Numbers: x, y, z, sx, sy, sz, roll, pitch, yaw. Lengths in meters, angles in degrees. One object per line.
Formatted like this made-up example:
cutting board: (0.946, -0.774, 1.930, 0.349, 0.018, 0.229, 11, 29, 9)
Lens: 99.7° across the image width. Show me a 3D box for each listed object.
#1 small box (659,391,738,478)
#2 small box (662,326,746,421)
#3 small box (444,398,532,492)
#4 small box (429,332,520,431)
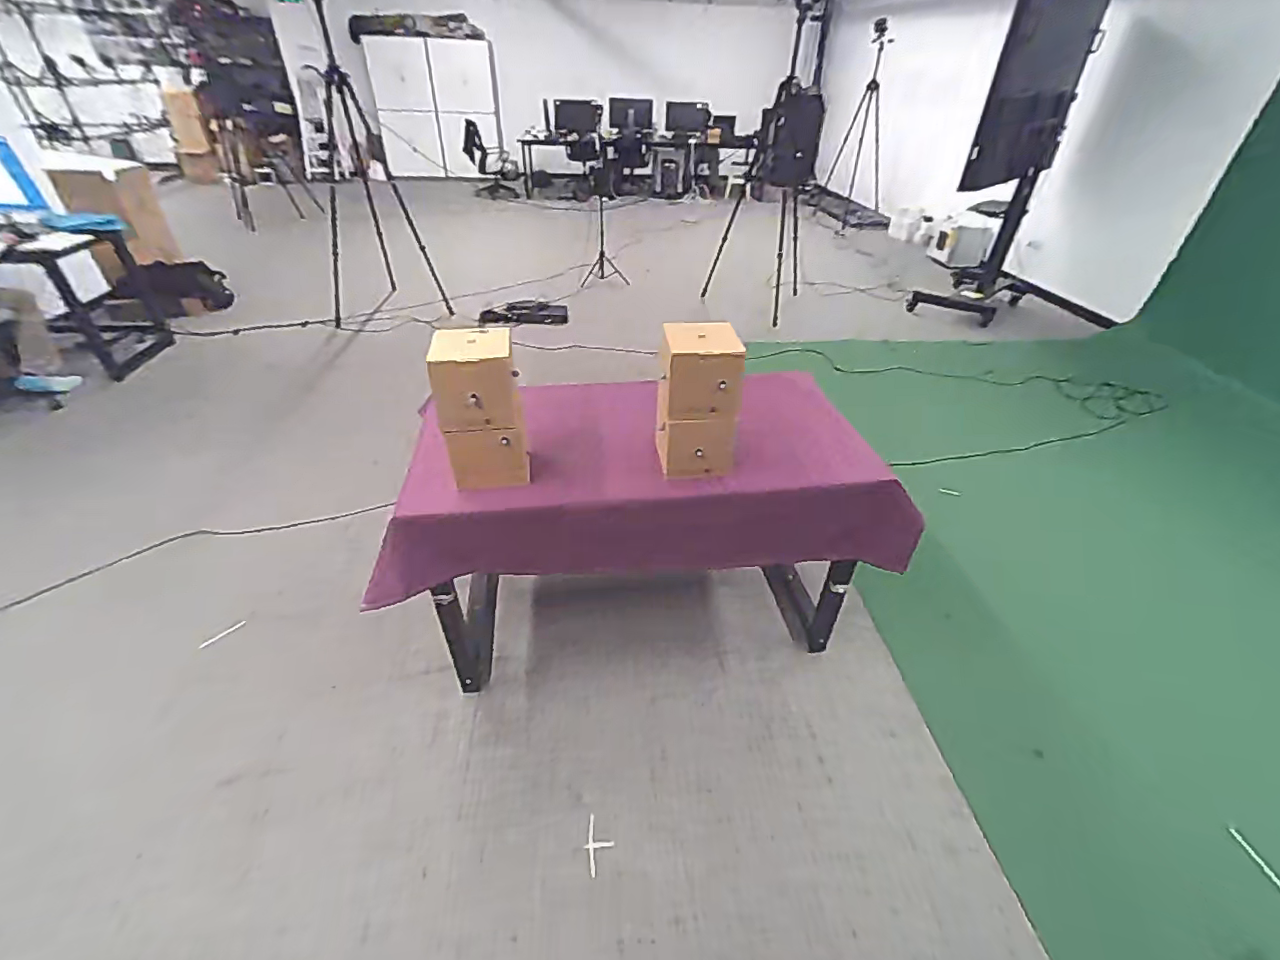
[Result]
small box: (0.140, -0.114, 1.359, 0.168, 0.176, 0.179, -3, 36, -6)
small box: (0.142, -0.248, 1.265, 0.168, 0.176, 0.179, -2, 36, -4)
small box: (-0.360, -0.084, 1.309, 0.179, 0.176, 0.168, -4, 36, -9)
small box: (-0.362, -0.218, 1.214, 0.168, 0.176, 0.179, -4, 37, -9)
